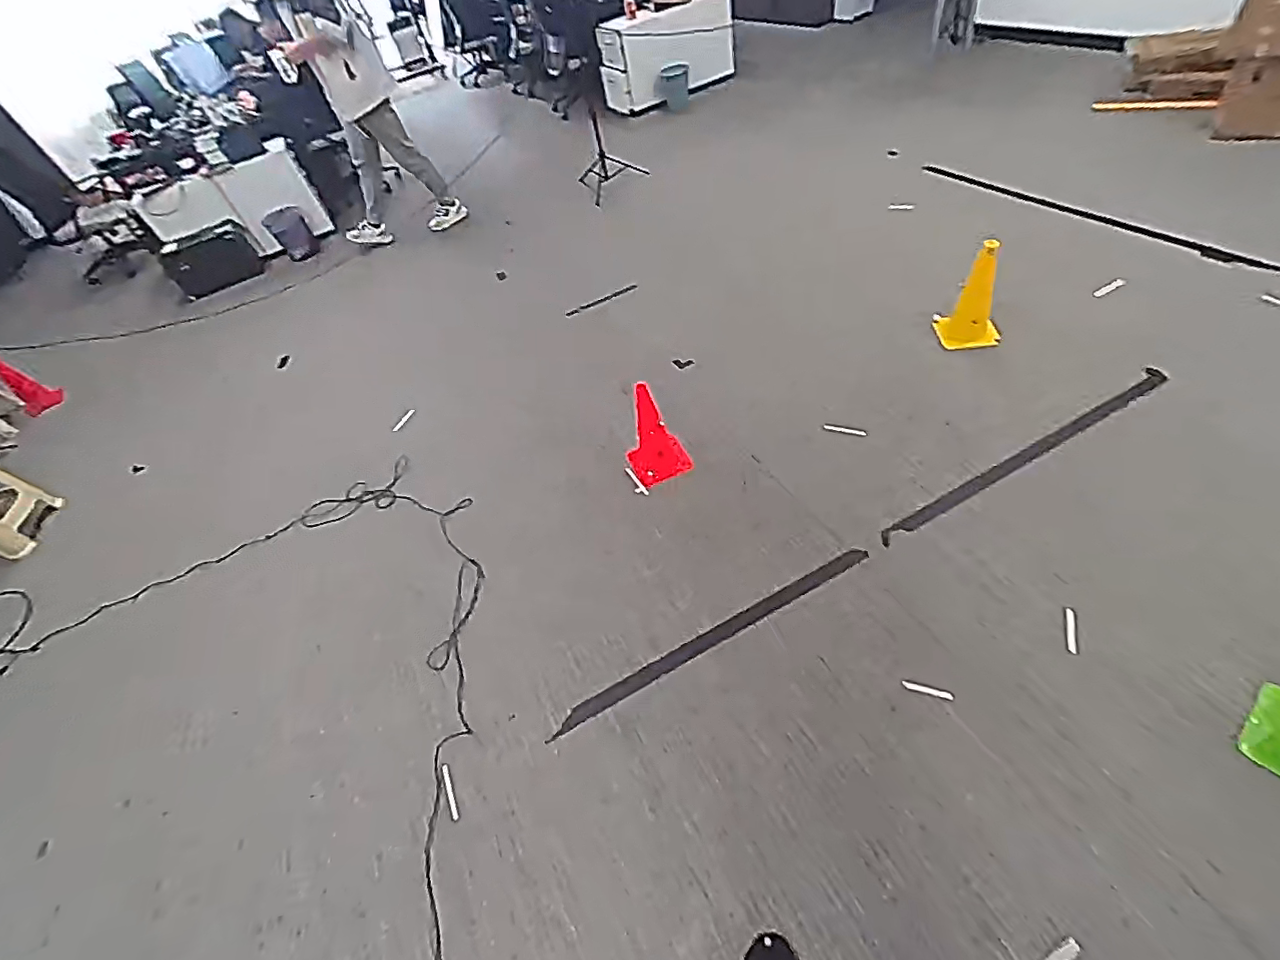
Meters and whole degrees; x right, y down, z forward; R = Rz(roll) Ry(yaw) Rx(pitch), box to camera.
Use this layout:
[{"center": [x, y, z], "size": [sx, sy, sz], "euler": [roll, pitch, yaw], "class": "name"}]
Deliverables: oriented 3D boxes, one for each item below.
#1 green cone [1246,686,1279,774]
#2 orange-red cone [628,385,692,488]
[{"center": [1.346, 0.437, 0.965], "size": [0.202, 0.368, 0.200], "euler": [-41, 52, -19], "class": "green cone"}, {"center": [0.040, -0.176, 1.842], "size": [0.199, 0.360, 0.198], "euler": [-21, 48, -6], "class": "orange-red cone"}]
